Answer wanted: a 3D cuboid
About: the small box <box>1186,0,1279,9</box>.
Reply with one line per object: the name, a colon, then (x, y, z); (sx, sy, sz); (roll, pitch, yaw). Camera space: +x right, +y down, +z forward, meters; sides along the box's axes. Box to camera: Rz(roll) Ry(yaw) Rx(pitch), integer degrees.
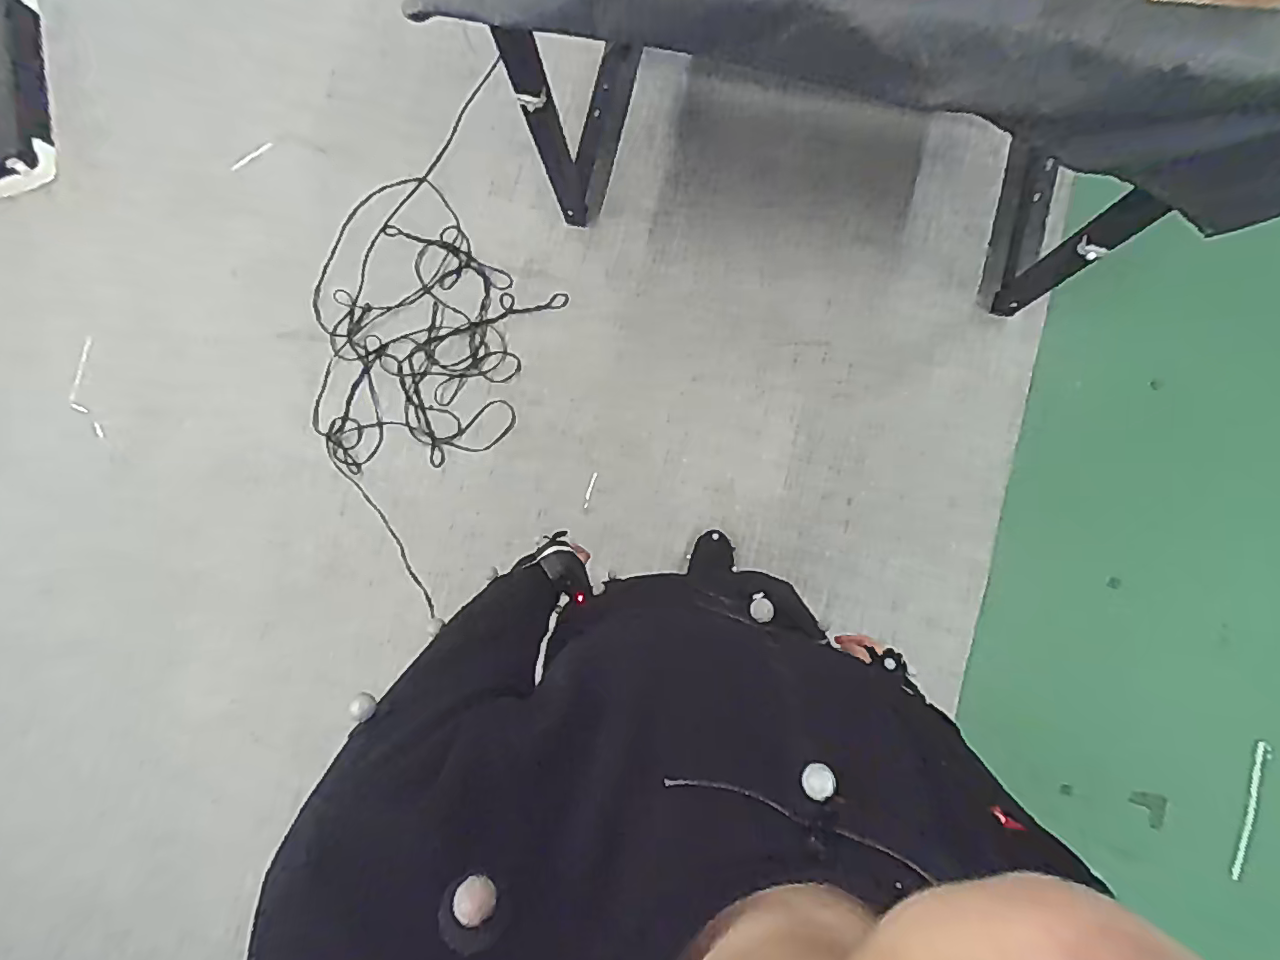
small box: (0.699, -0.667, 0.579); (0.168, 0.176, 0.179); (9, 86, 6)
